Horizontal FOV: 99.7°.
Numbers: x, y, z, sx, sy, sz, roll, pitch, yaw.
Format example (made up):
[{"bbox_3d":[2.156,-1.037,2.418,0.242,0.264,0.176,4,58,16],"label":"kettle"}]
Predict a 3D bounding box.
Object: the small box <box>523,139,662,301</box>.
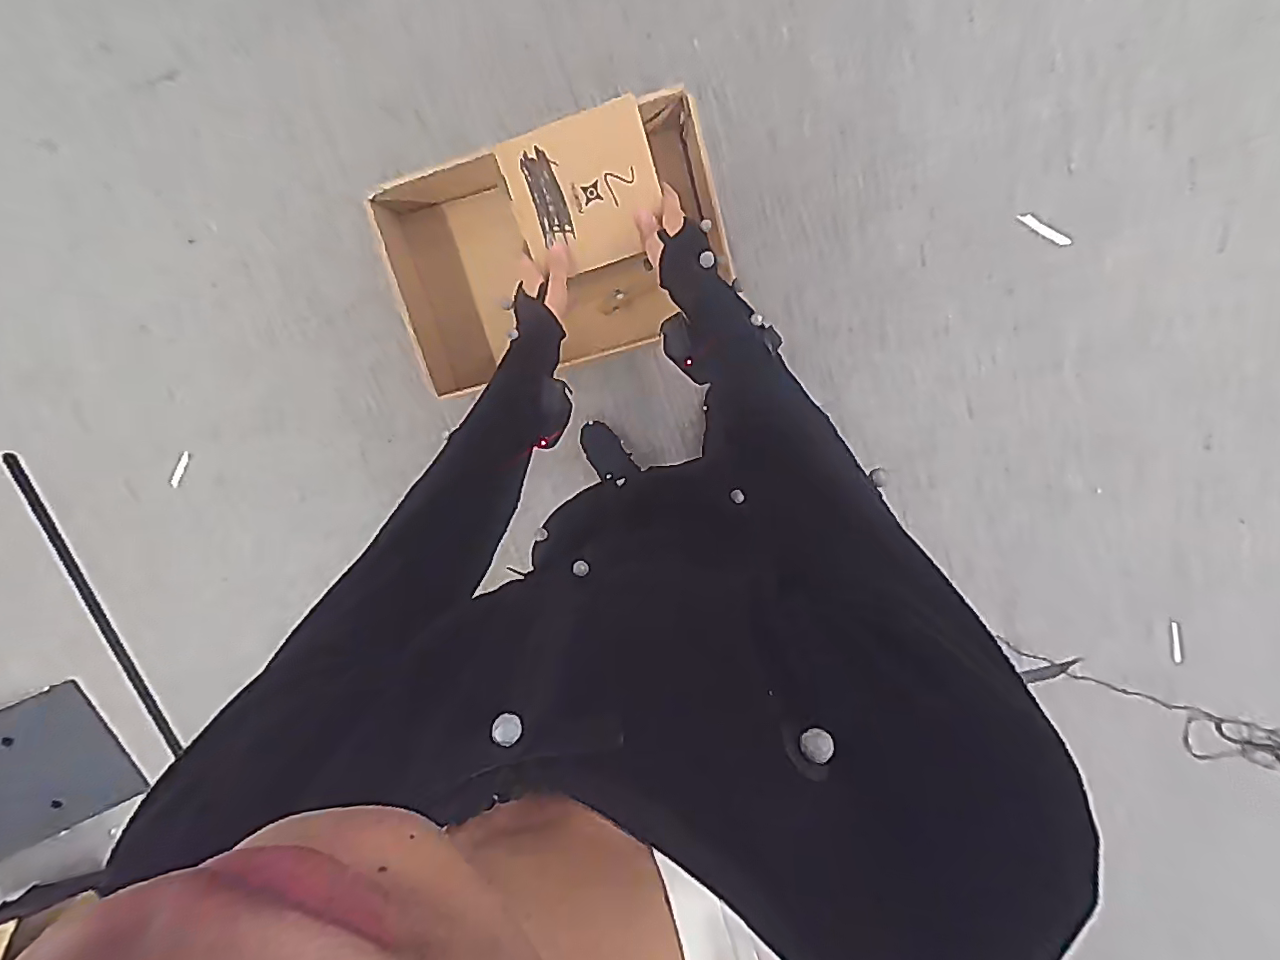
[{"bbox_3d":[-0.065,-0.401,0.869,0.168,0.176,0.179,-15,103,9],"label":"small box"}]
